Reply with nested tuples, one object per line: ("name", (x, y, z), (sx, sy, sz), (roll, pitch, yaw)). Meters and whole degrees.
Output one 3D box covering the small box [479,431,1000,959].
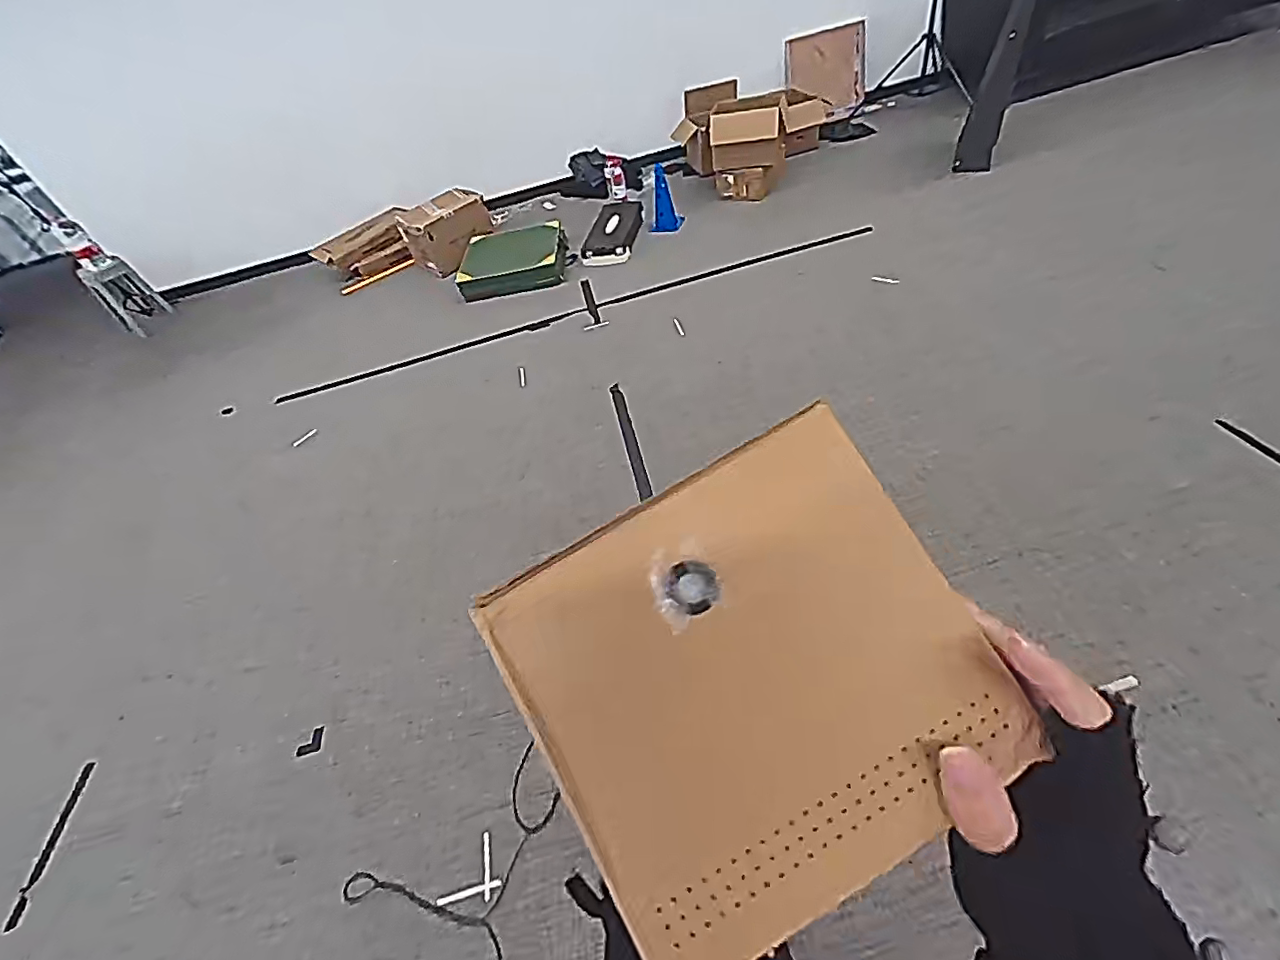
("small box", (0.046, 0.104, 0.309), (0.179, 0.168, 0.176), (-31, 80, -3))
